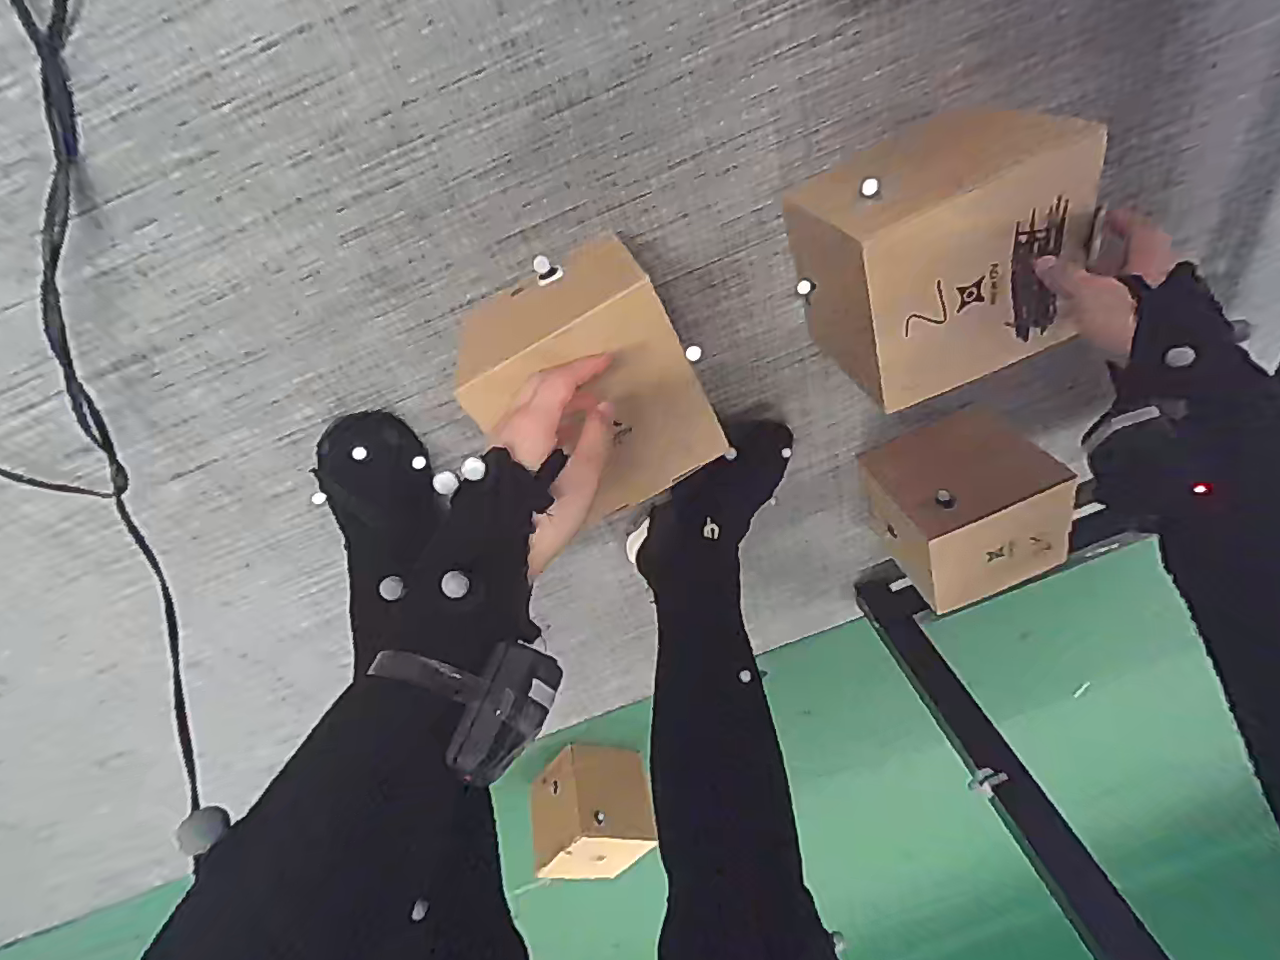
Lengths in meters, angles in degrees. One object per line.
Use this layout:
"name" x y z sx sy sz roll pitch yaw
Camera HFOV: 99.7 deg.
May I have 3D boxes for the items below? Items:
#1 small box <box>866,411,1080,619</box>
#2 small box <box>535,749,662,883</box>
"small box" 0.418 0.042 0.707 0.179 0.176 0.168 -26 129 6
"small box" -0.087 0.642 1.037 0.179 0.176 0.168 25 117 -27
